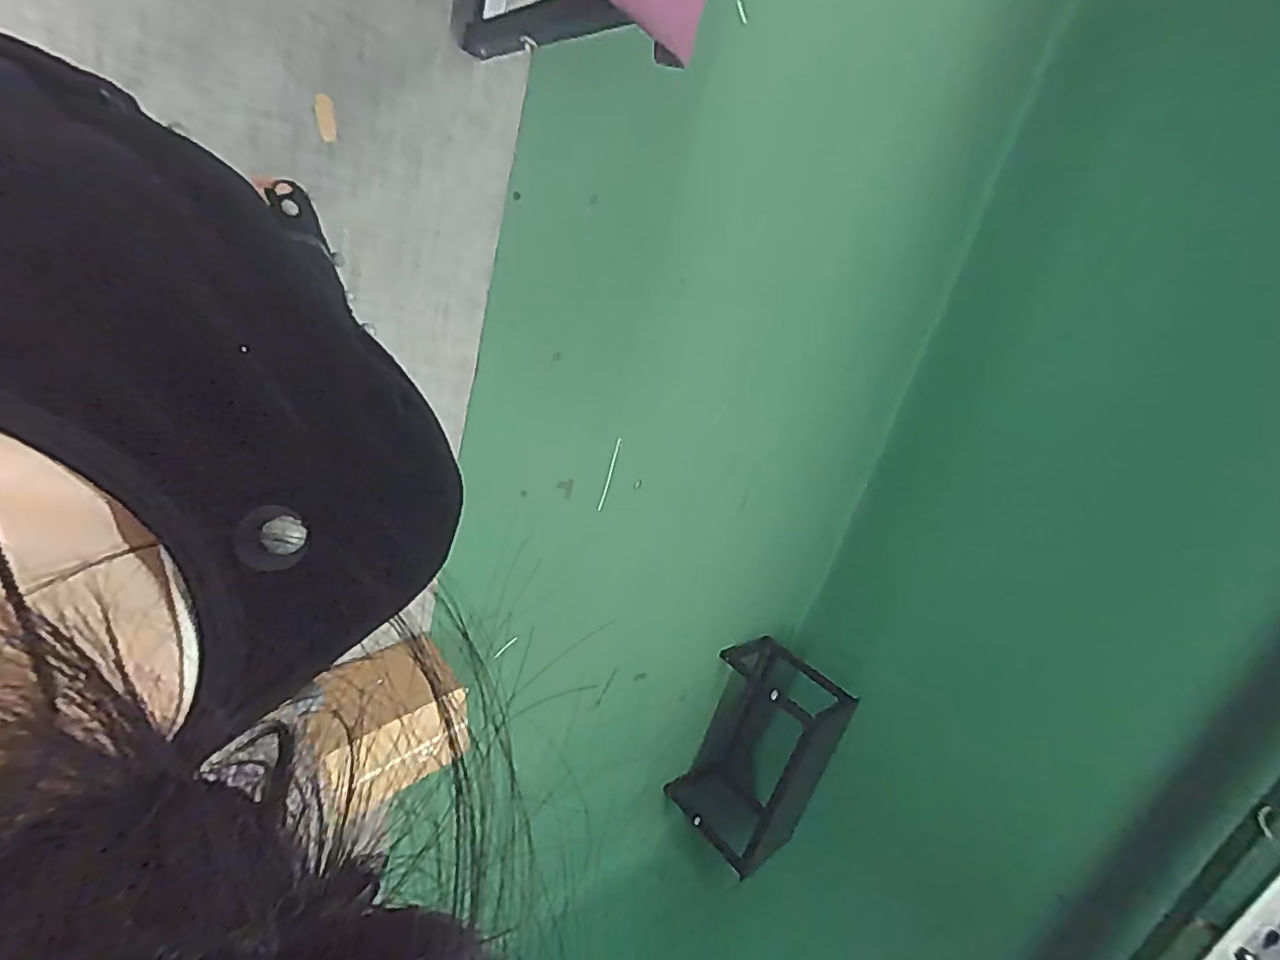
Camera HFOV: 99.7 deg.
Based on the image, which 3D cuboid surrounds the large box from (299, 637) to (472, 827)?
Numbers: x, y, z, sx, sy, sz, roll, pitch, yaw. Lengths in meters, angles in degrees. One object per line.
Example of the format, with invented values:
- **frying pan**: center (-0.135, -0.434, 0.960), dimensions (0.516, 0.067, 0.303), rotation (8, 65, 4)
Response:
- **large box**: center (-0.808, 0.784, 1.740), dimensions (0.408, 0.320, 0.320), rotation (-18, 126, -39)
